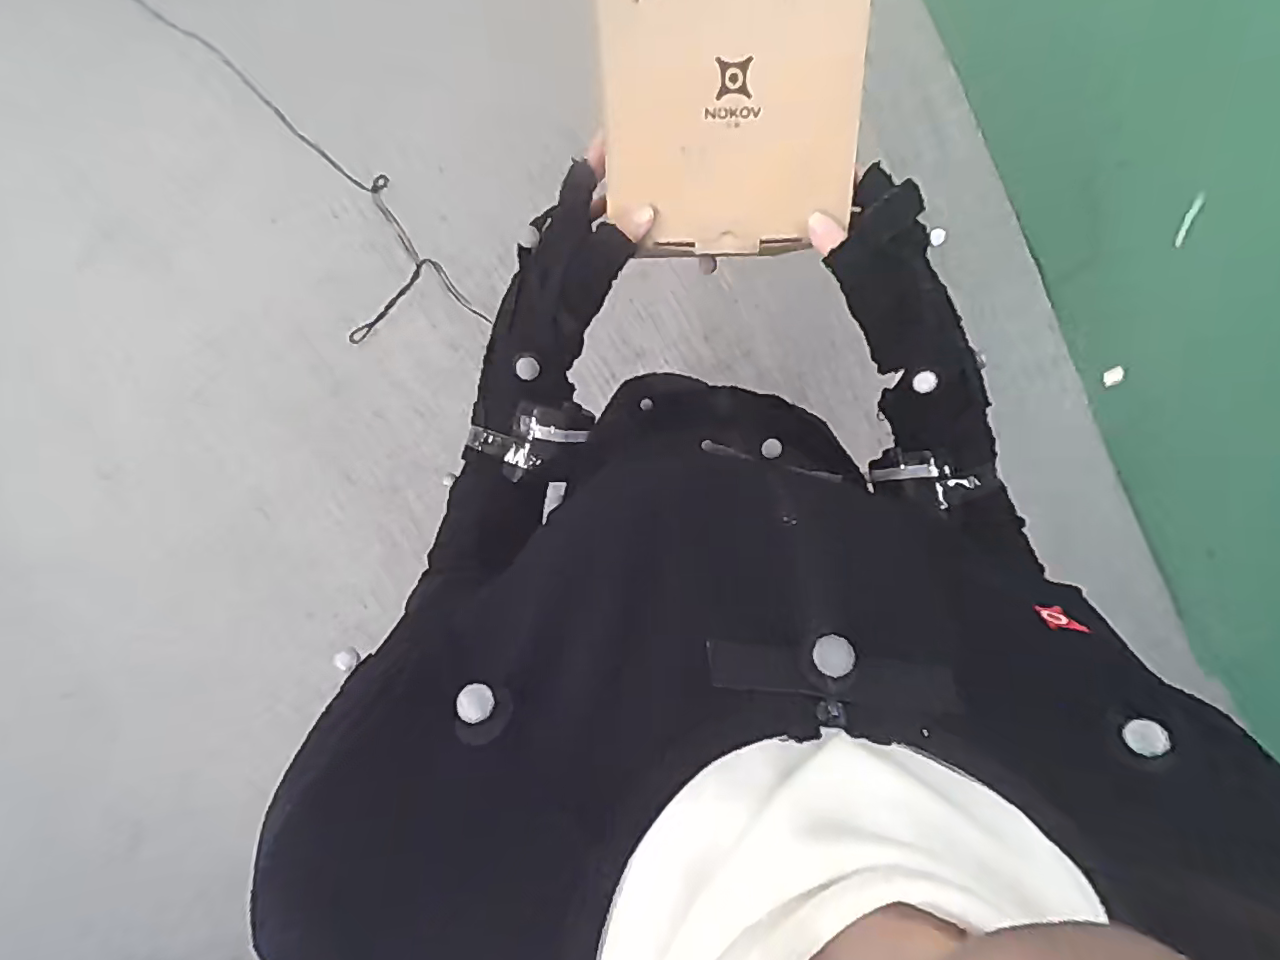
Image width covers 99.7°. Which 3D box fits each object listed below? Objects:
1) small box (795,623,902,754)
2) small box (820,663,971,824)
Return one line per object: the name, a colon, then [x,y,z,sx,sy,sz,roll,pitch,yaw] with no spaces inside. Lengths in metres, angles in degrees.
small box: [0.448,0.427,1.132,0.179,0.176,0.168,-22,99,7]
small box: [0.443,0.463,0.972,0.179,0.176,0.168,-24,99,5]
